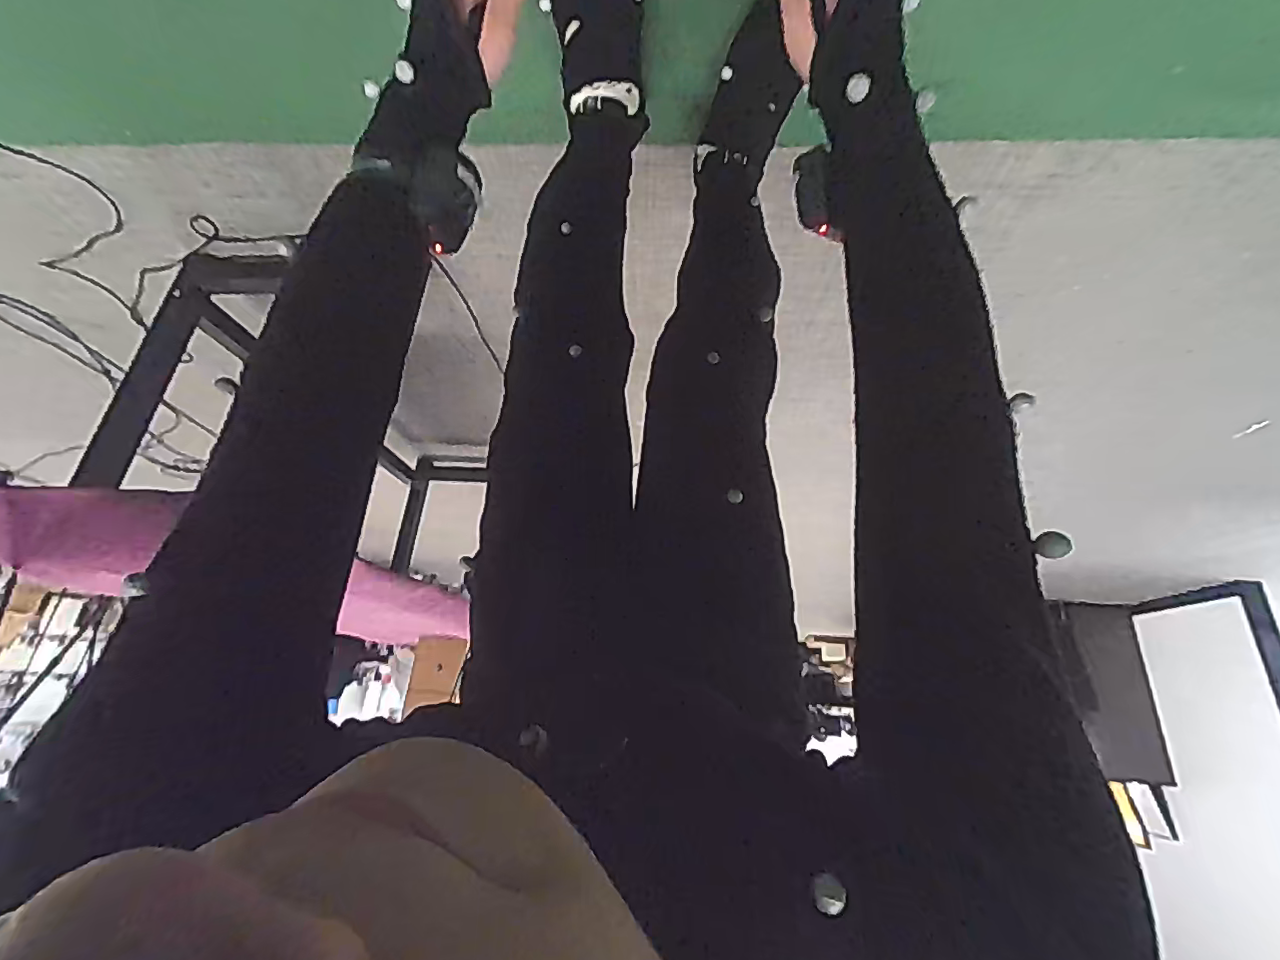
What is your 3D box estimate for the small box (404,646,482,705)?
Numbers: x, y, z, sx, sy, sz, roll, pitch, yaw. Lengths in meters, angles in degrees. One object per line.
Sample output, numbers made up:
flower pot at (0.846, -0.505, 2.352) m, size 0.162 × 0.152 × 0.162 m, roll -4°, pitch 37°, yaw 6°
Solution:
small box at (-0.645, 0.647, 1.791) m, size 0.179 × 0.176 × 0.168 m, roll 0°, pitch 157°, yaw 6°
